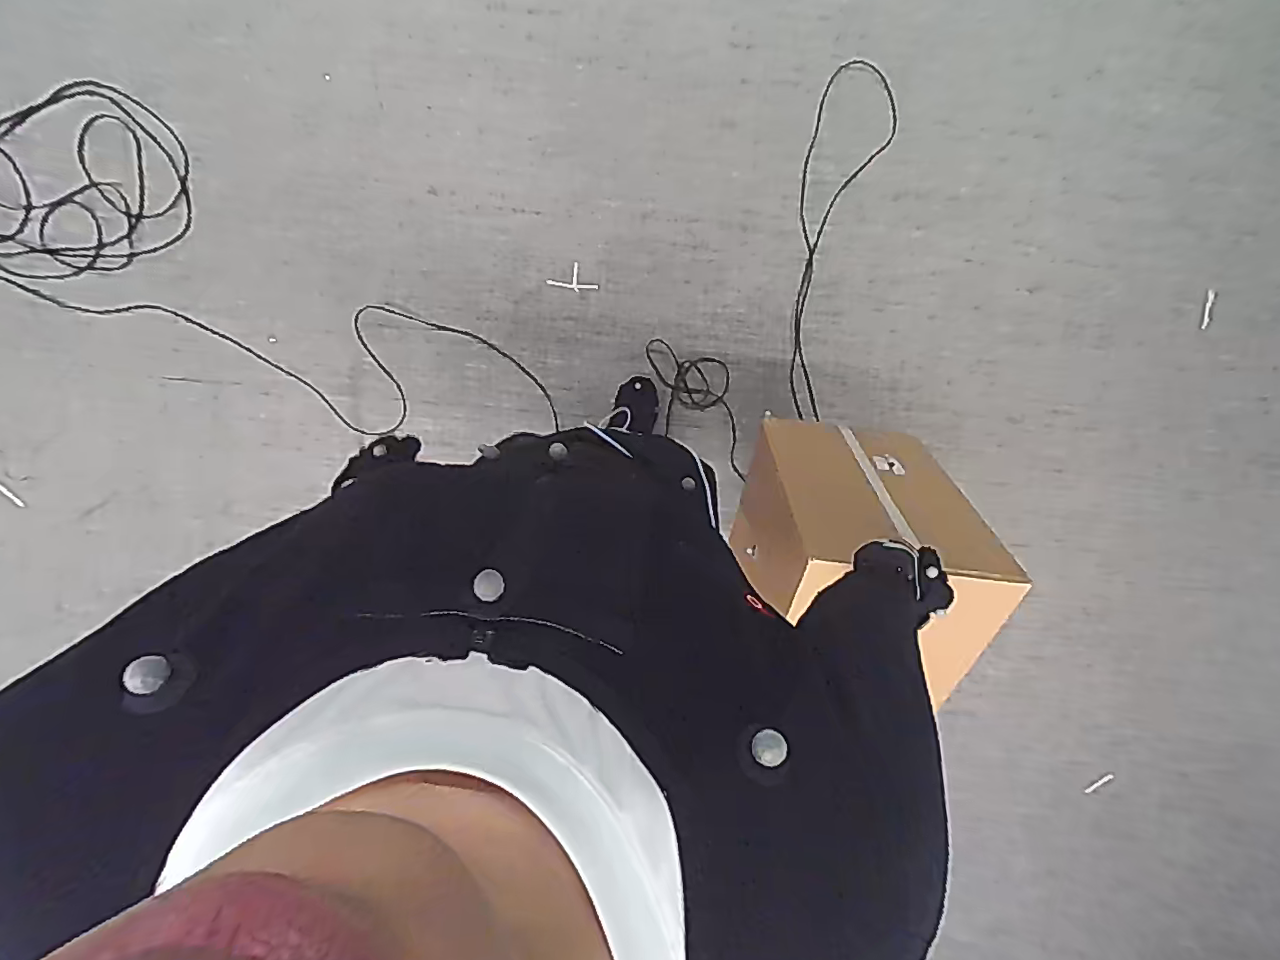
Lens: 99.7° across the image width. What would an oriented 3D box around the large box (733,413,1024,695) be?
[{"bbox_3d":[0.368,0.120,0.981,0.320,0.408,0.320,8,124,-3],"label":"large box"}]
